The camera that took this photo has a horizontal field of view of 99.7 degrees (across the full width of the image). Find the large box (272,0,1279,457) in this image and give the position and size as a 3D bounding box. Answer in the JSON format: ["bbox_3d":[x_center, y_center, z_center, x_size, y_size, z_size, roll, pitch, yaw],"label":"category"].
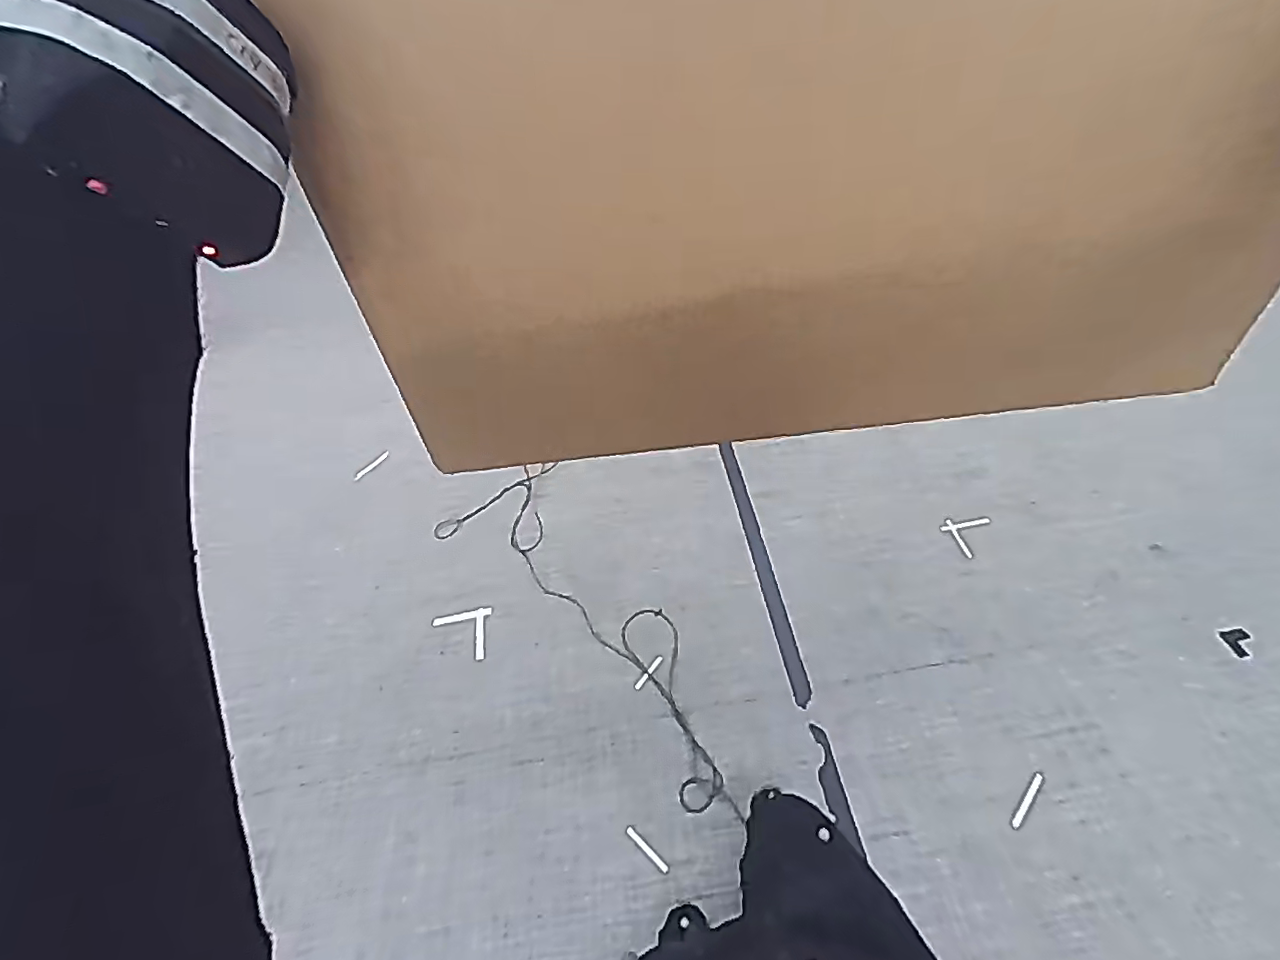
[{"bbox_3d":[0.067,-0.241,0.312,0.408,0.320,0.320,-6,42,0],"label":"large box"}]
